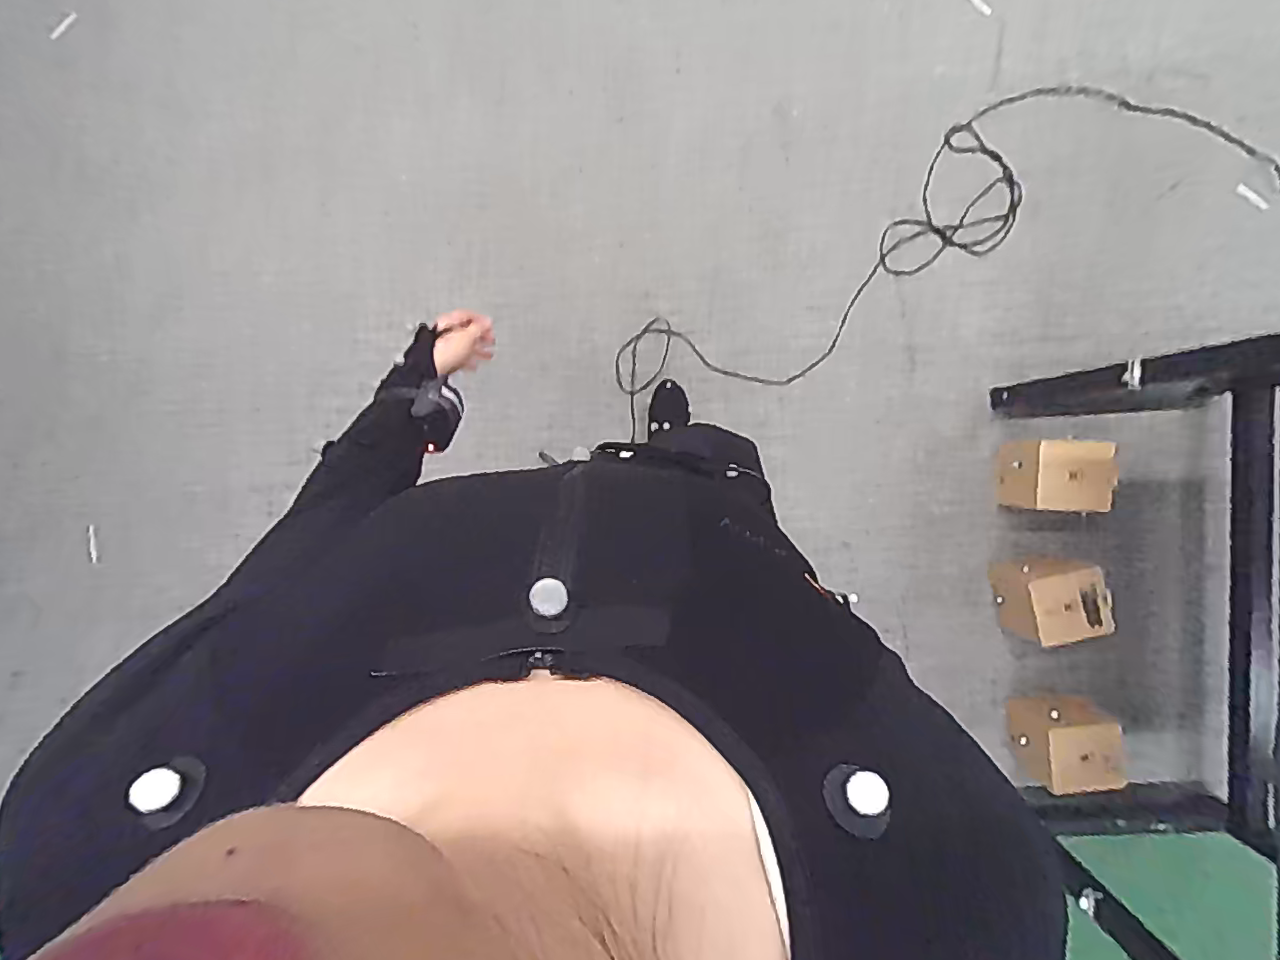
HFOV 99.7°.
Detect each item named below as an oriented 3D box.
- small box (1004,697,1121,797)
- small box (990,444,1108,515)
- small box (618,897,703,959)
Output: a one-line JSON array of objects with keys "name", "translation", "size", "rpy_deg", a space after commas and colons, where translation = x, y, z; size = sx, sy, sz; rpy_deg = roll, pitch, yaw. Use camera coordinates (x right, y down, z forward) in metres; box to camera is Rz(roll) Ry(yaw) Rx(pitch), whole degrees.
[{"name": "small box", "translation": [1.066, 0.675, 1.382], "size": [0.179, 0.176, 0.168], "rpy_deg": [-7, 93, 2]}, {"name": "small box", "translation": [1.017, -0.003, 1.359], "size": [0.179, 0.176, 0.168], "rpy_deg": [2, 92, 1]}, {"name": "small box", "translation": [0.051, 1.269, 1.440], "size": [0.179, 0.176, 0.168], "rpy_deg": [32, 94, -1]}]
